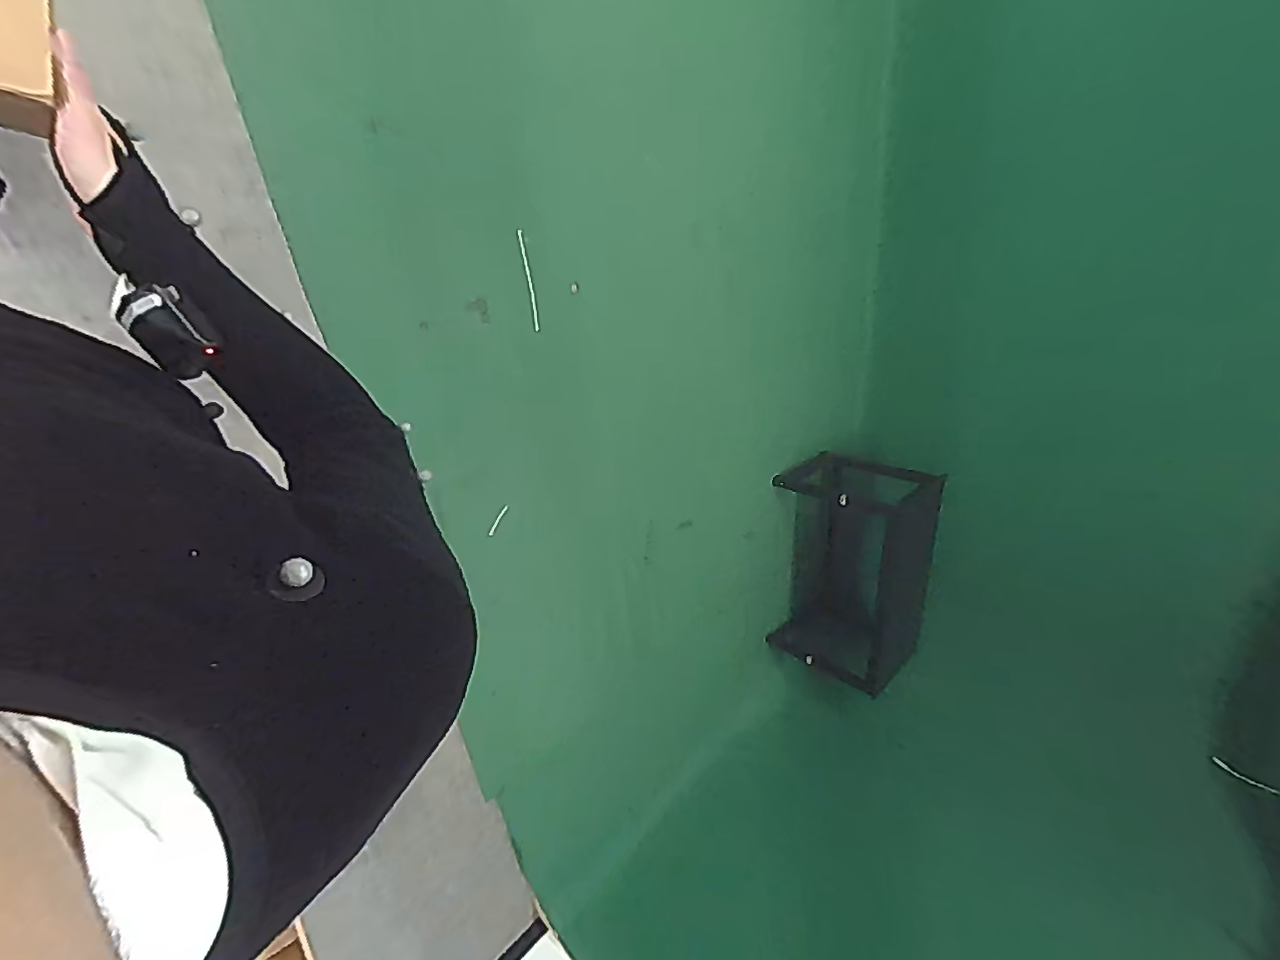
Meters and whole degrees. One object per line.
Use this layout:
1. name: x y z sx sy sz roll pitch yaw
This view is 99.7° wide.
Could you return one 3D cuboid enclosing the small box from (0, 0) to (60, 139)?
1. small box: -0.515 -0.365 0.364 0.168 0.176 0.179 -2 108 -46
